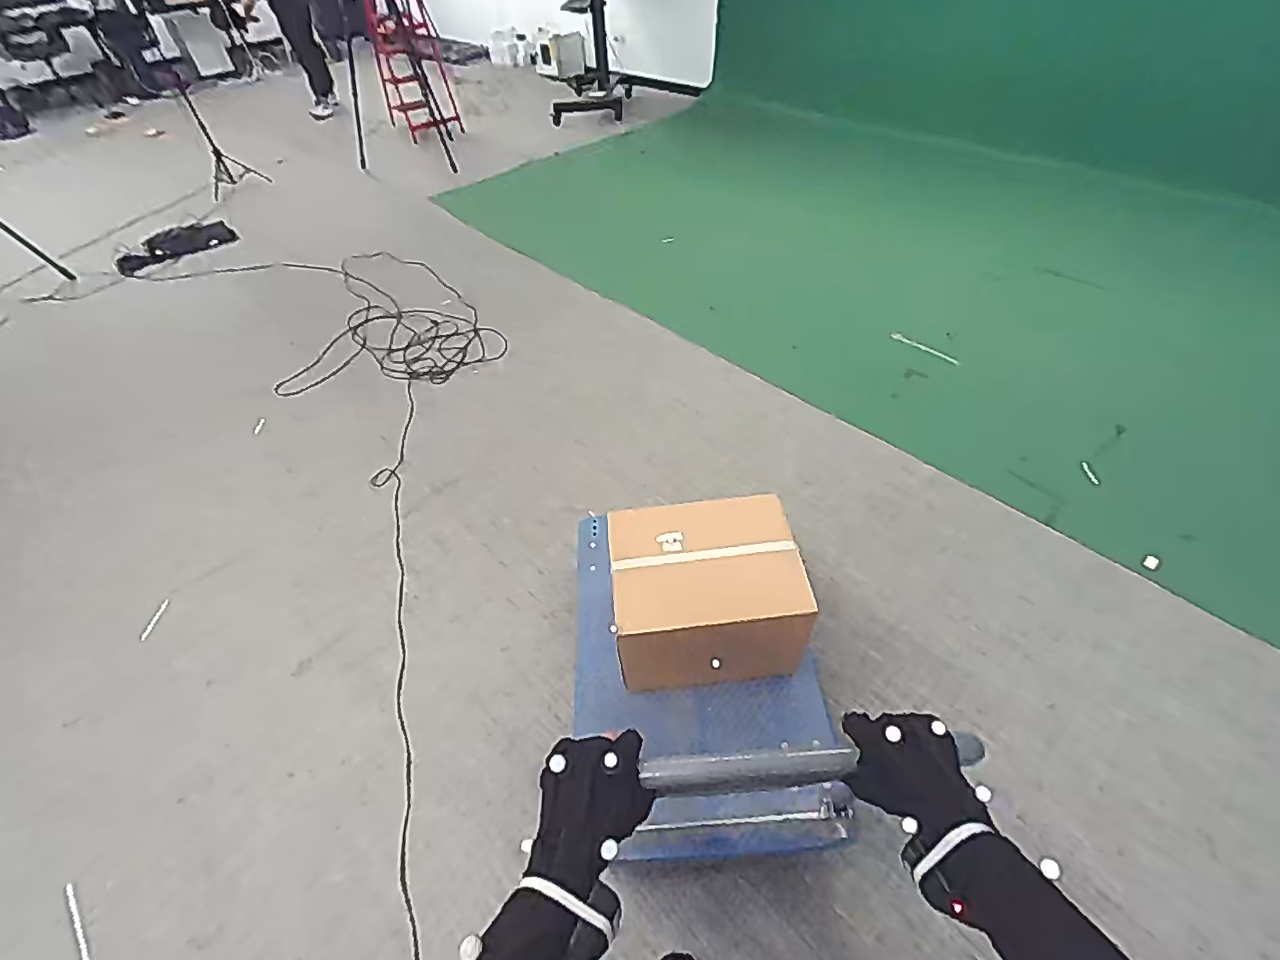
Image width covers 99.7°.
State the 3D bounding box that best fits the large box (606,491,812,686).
[{"bbox_3d":[0.146,0.263,1.291,0.408,0.320,0.320,-8,48,-2],"label":"large box"}]
